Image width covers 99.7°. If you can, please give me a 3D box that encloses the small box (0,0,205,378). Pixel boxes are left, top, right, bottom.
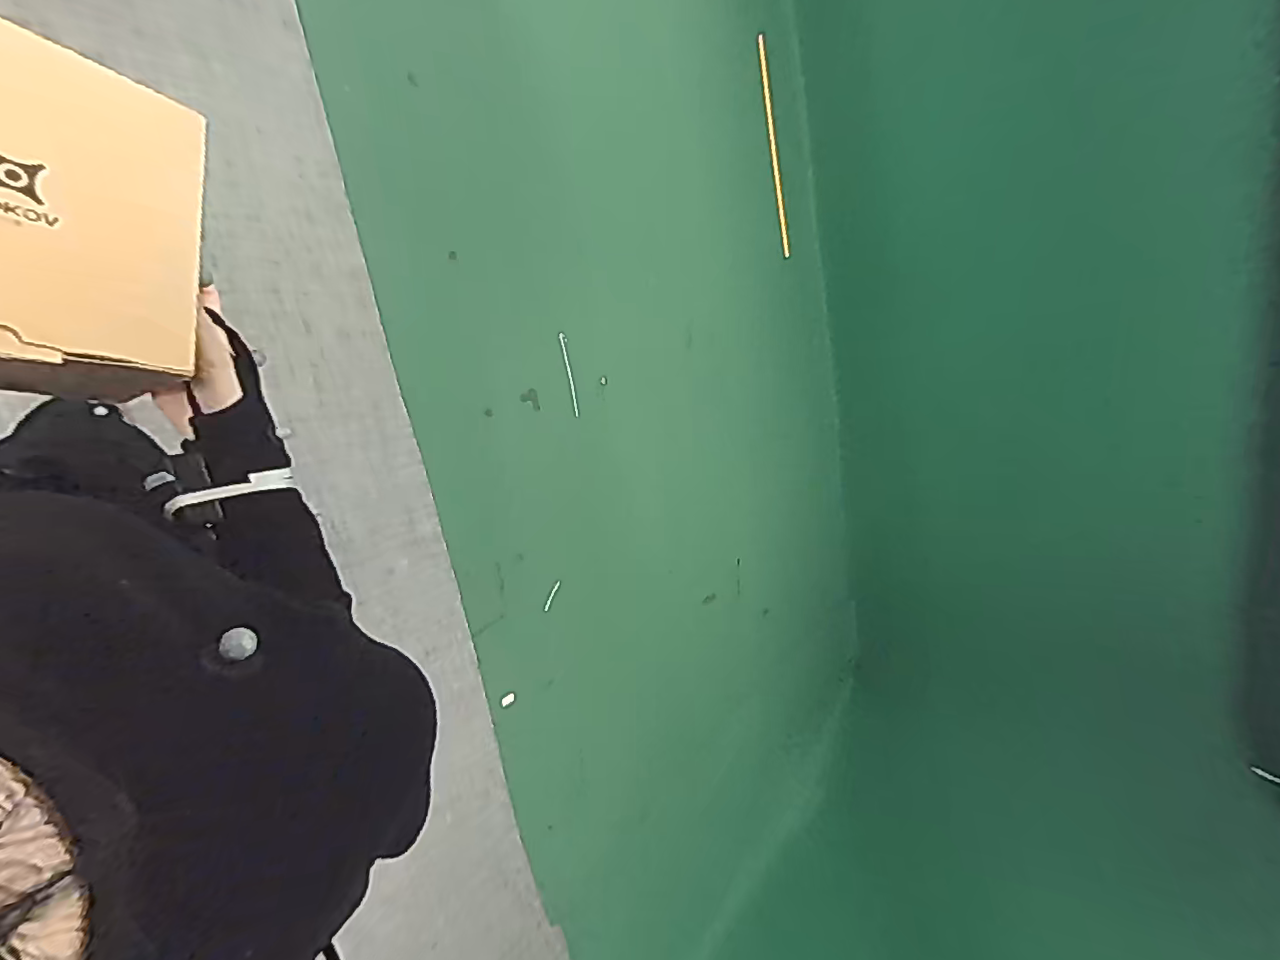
[{"bbox_3d":[-0.408,-0.173,0.338,0.168,0.176,0.179,4,85,-57],"label":"small box"}]
